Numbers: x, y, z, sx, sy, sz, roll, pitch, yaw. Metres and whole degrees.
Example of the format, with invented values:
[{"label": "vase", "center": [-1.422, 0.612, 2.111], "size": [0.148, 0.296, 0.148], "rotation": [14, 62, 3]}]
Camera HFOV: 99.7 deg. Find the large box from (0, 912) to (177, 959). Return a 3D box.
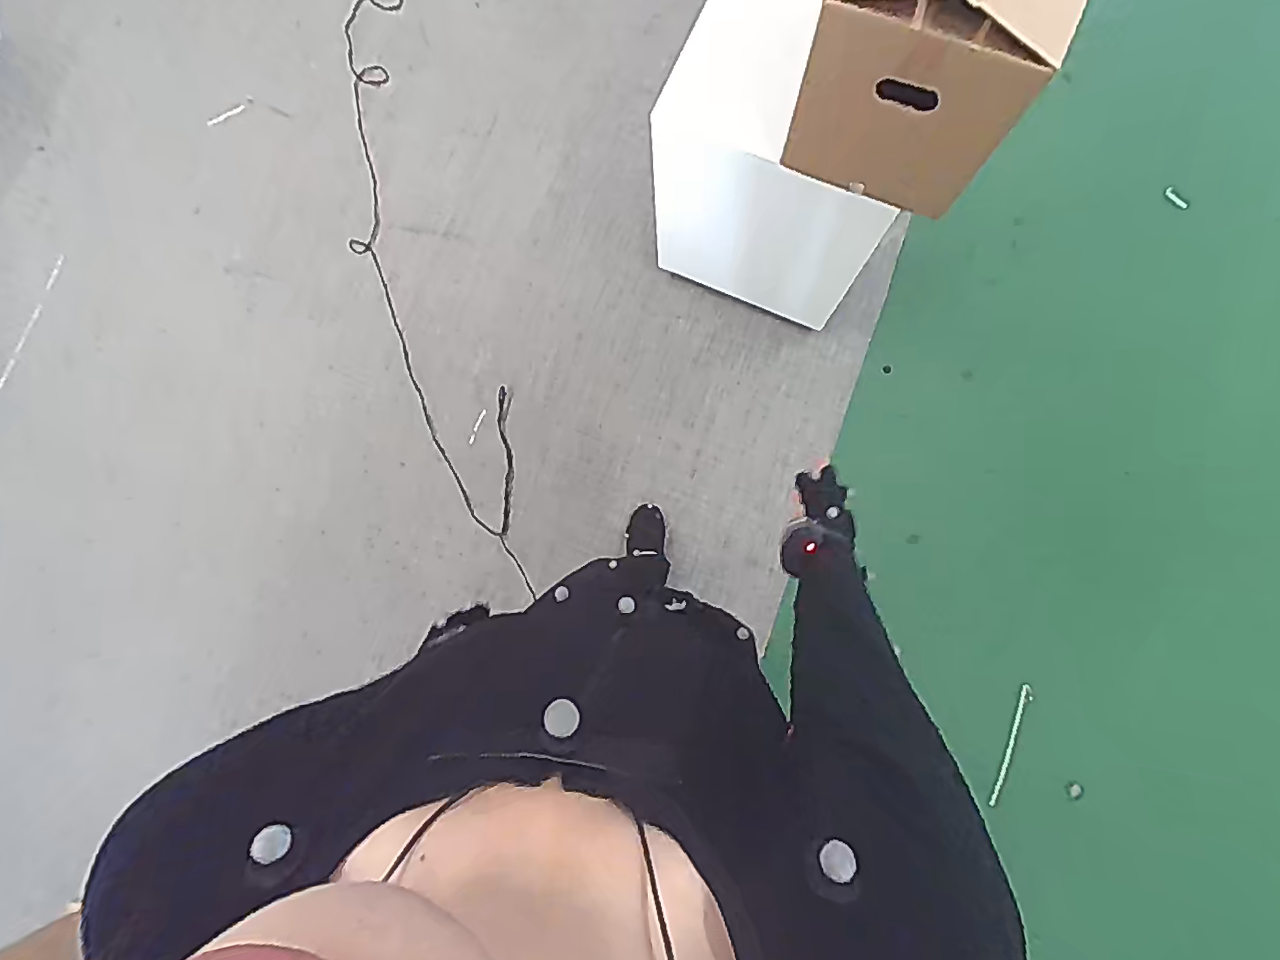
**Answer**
[{"label": "large box", "center": [-1.117, 1.112, 0.995], "size": [0.408, 0.320, 0.320], "rotation": [21, 79, 6]}]
